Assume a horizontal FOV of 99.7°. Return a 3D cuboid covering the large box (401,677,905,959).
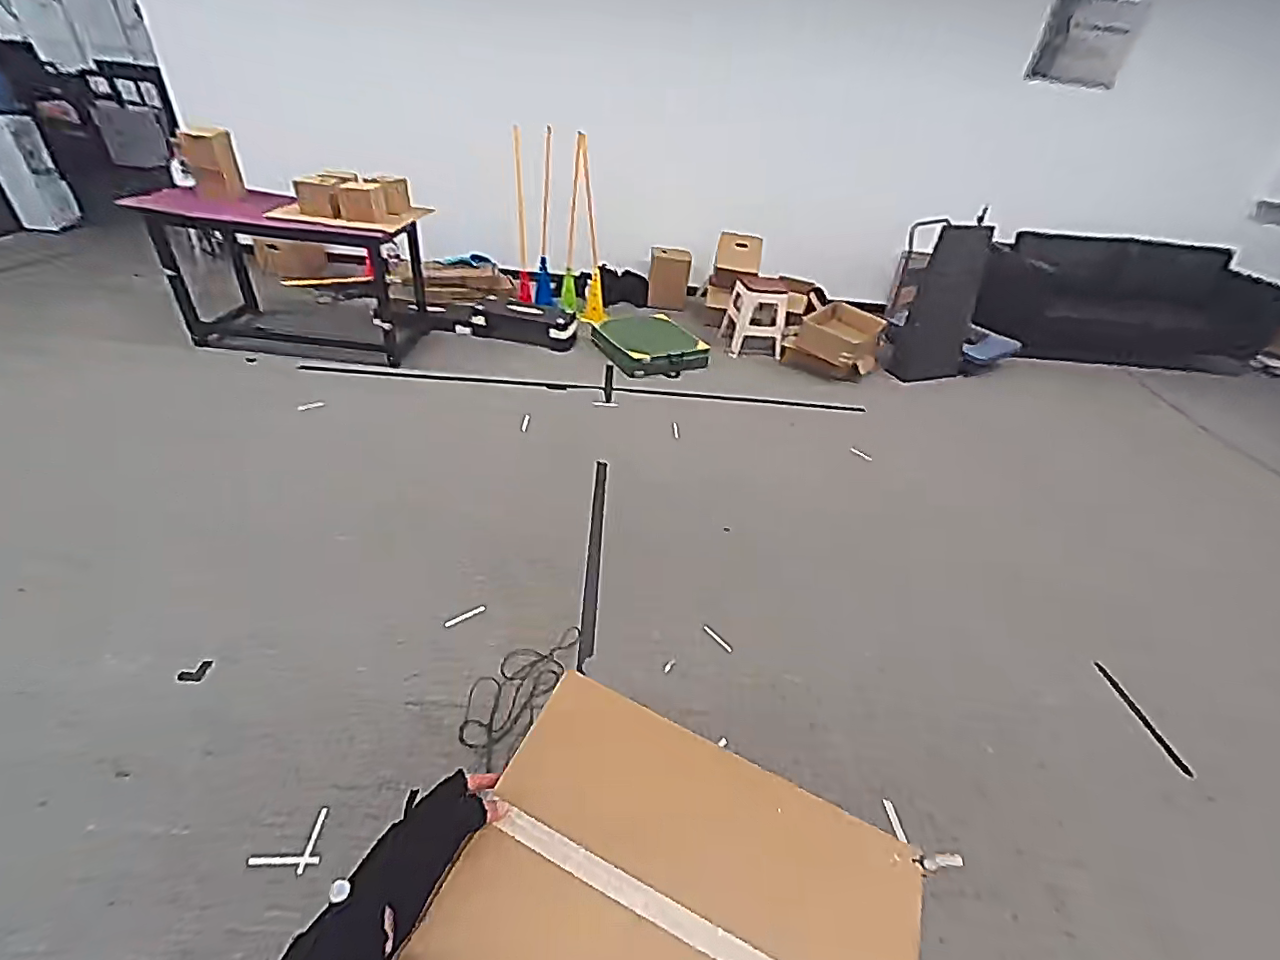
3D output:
[{"bbox_3d":[0.009,0.496,0.590,0.408,0.320,0.320,23,46,12],"label":"large box"}]
